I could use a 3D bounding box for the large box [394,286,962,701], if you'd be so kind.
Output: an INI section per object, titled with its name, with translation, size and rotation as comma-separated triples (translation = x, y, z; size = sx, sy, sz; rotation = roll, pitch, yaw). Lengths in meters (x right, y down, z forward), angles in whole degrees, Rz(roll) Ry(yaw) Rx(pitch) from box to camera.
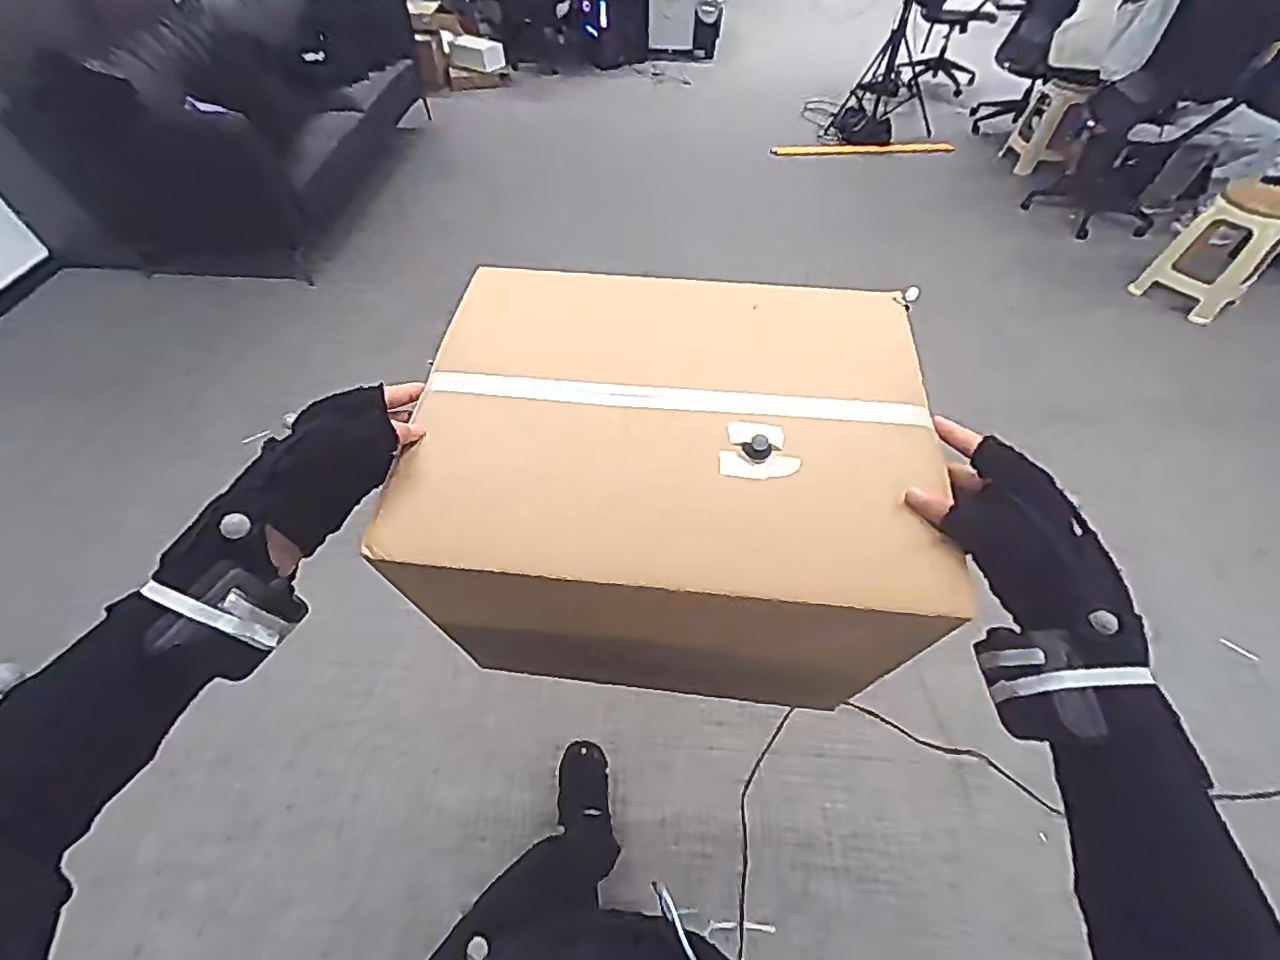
[large box]
translation = 0.033, 0.027, 0.576
size = 0.408, 0.320, 0.320
rotation = 5, 57, 3
